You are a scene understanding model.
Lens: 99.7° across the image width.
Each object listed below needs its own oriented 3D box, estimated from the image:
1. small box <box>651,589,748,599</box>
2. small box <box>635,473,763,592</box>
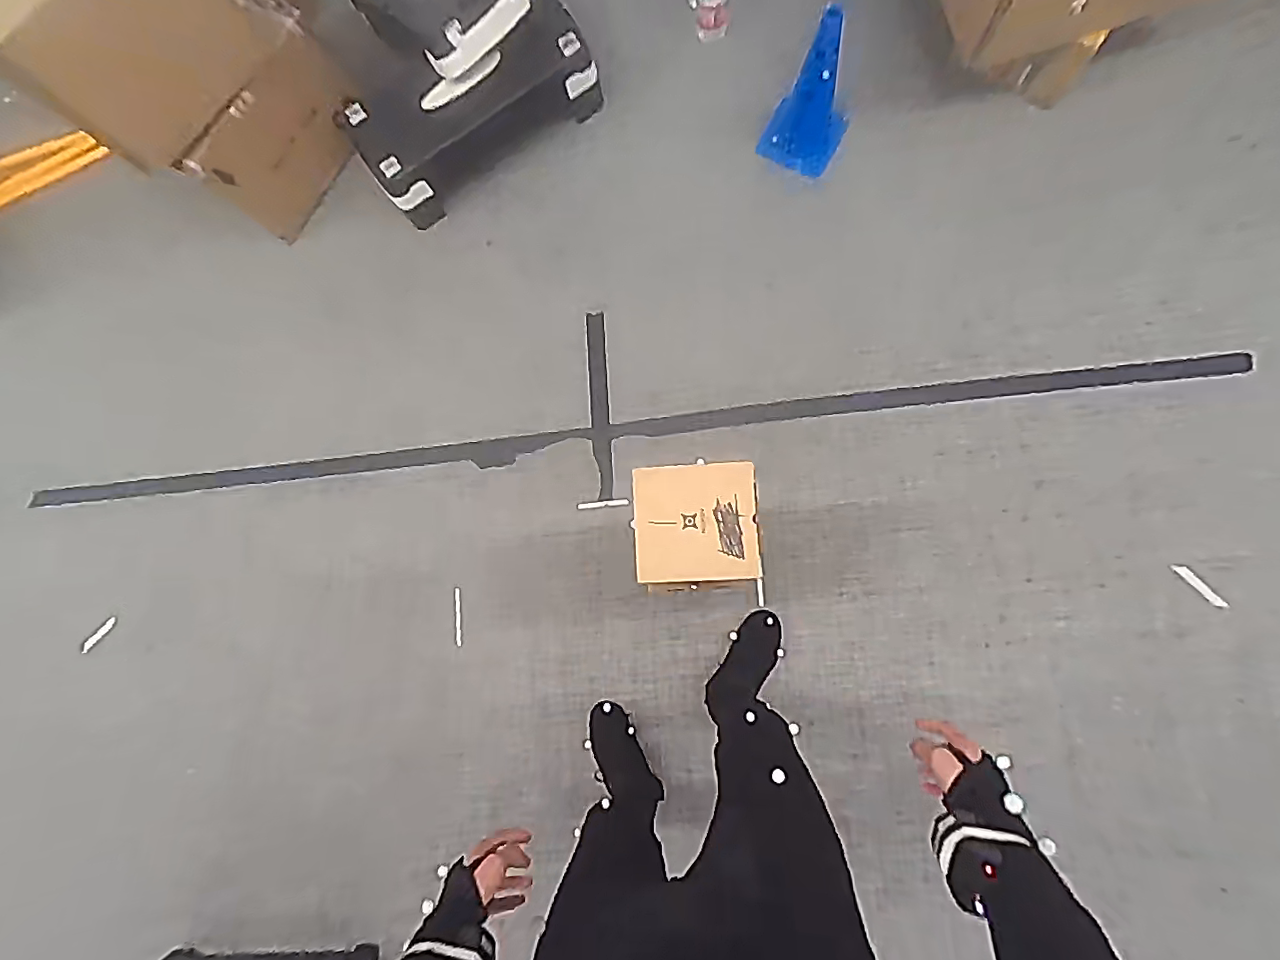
[{"bbox_3d":[0.102,0.123,0.997,0.168,0.176,0.179,-5,82,5],"label":"small box"},{"bbox_3d":[0.089,0.082,0.838,0.179,0.176,0.168,-3,82,6],"label":"small box"}]
